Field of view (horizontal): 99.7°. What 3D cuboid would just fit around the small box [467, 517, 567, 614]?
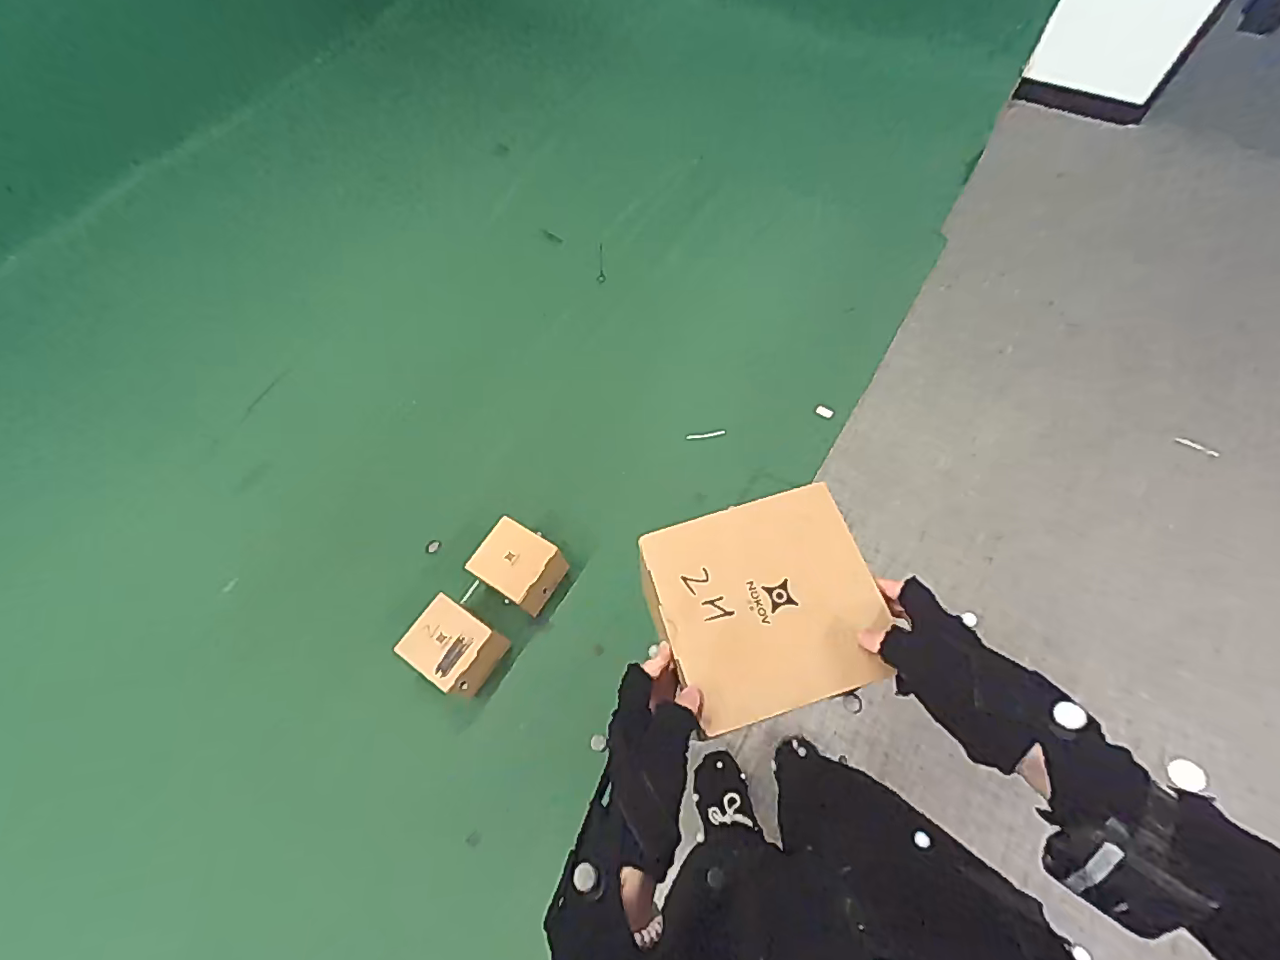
[{"bbox_3d":[-0.314,0.231,1.417,0.179,0.176,0.168,29,69,15],"label":"small box"}]

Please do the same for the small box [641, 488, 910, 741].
[{"bbox_3d":[0.105,0.132,0.509,0.179,0.176,0.168,-16,65,-6],"label":"small box"}]
